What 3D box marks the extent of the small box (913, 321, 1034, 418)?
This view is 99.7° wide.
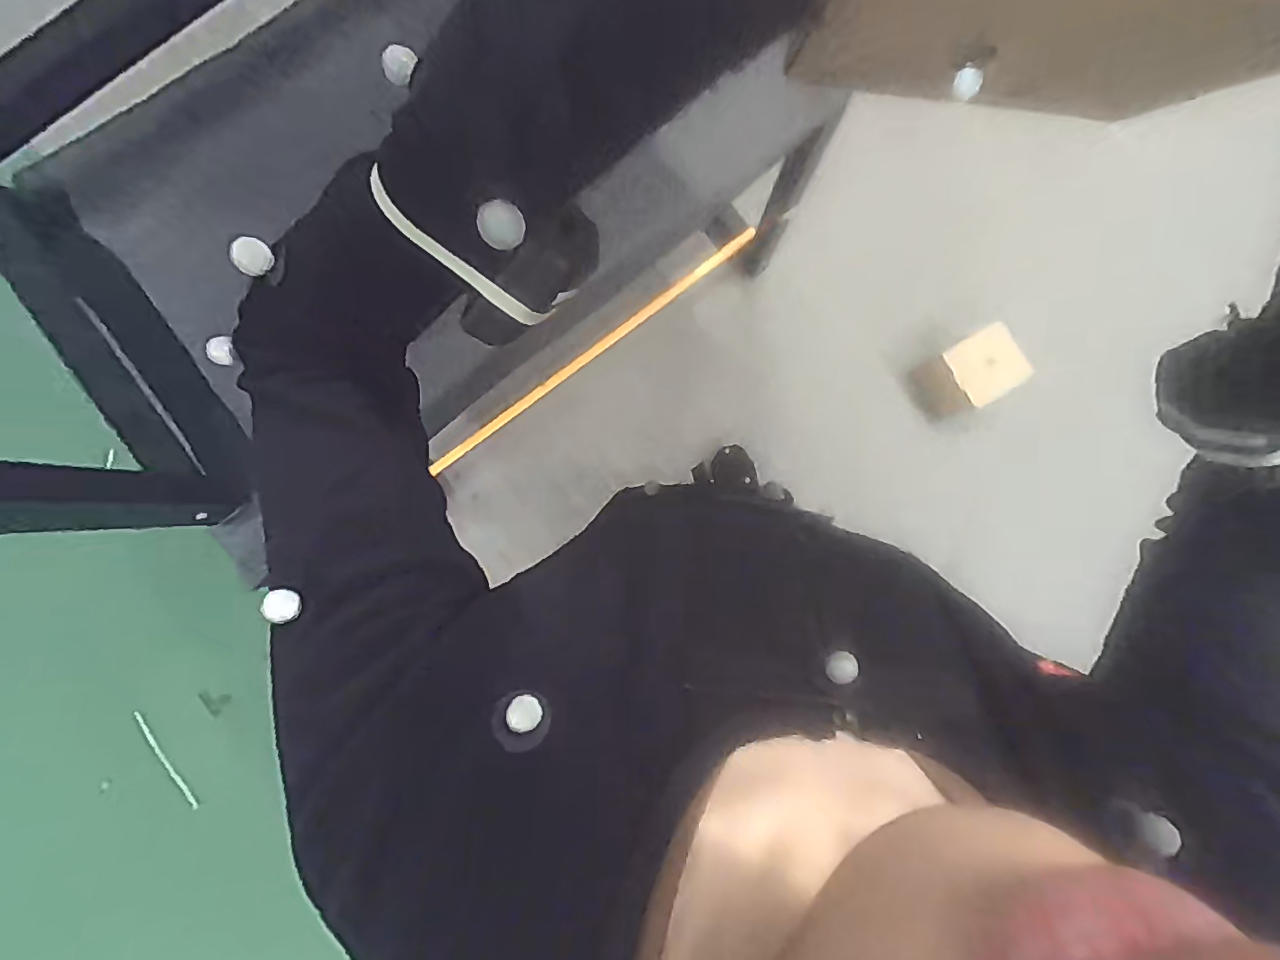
[{"bbox_3d":[0.864,-0.282,1.417,0.179,0.176,0.168,-31,87,0],"label":"small box"}]
